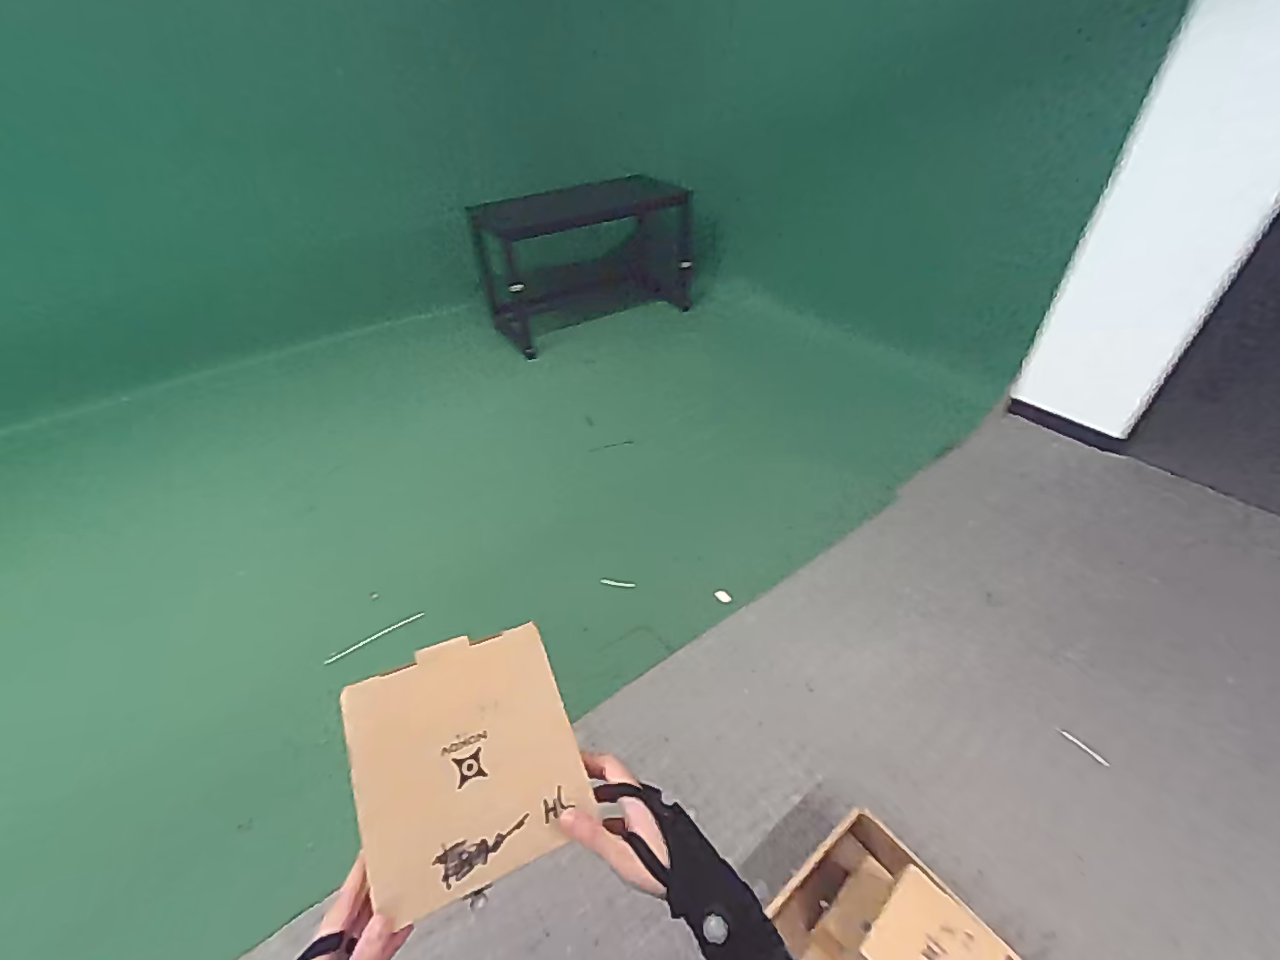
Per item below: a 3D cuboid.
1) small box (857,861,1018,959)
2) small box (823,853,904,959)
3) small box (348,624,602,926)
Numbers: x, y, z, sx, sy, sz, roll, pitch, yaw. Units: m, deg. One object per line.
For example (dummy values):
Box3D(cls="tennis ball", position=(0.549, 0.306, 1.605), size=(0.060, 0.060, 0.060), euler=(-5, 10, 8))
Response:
Box3D(cls="small box", position=(0.492, 0.807, 0.921), size=(0.179, 0.176, 0.168), euler=(-34, 51, -27))
Box3D(cls="small box", position=(0.487, 0.895, 1.067), size=(0.168, 0.176, 0.179), euler=(-33, 50, -26))
Box3D(cls="small box", position=(-0.149, 0.266, 0.501), size=(0.168, 0.176, 0.179), euler=(-17, 60, -20))
